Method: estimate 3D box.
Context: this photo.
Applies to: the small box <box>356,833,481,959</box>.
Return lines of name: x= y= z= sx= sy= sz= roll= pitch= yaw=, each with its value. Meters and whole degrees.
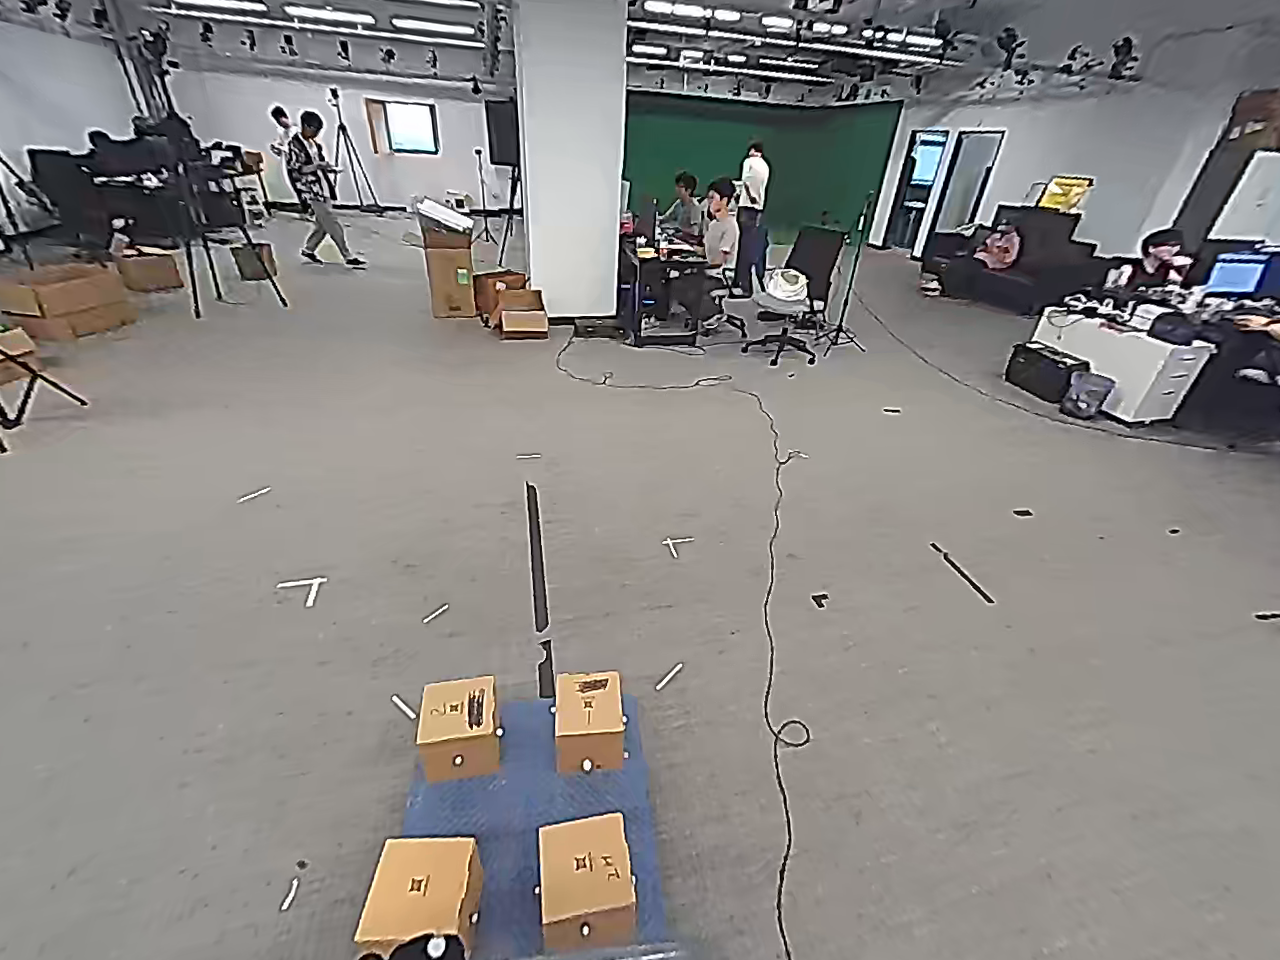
small box: x=-0.418 y=0.819 z=1.053 sx=0.179 sy=0.176 sz=0.168 roll=3 pitch=31 yaw=-5

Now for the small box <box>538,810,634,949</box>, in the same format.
small box: x=-0.112 y=0.810 z=1.097 sx=0.179 sy=0.176 sz=0.168 roll=-4 pitch=33 yaw=-11

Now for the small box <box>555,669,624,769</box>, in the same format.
small box: x=-0.134 y=0.619 z=1.403 sx=0.168 sy=0.176 sz=0.179 roll=-1 pitch=33 yaw=-7
